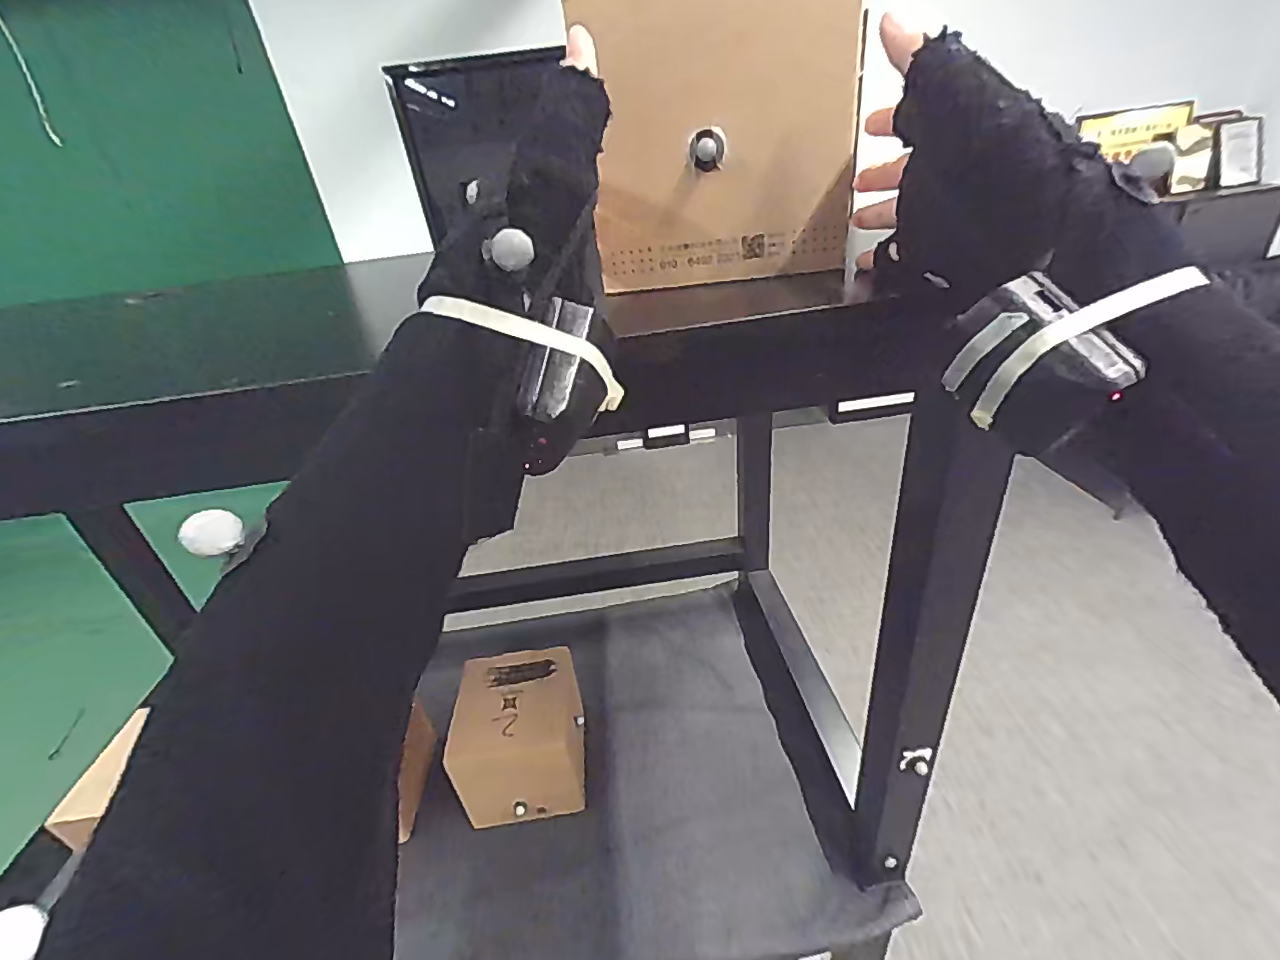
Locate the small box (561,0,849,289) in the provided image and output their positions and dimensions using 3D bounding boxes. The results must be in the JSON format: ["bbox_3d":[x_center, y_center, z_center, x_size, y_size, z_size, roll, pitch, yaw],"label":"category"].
[{"bbox_3d":[0.053,-0.245,0.404,0.168,0.176,0.179,-2,30,8],"label":"small box"}]
